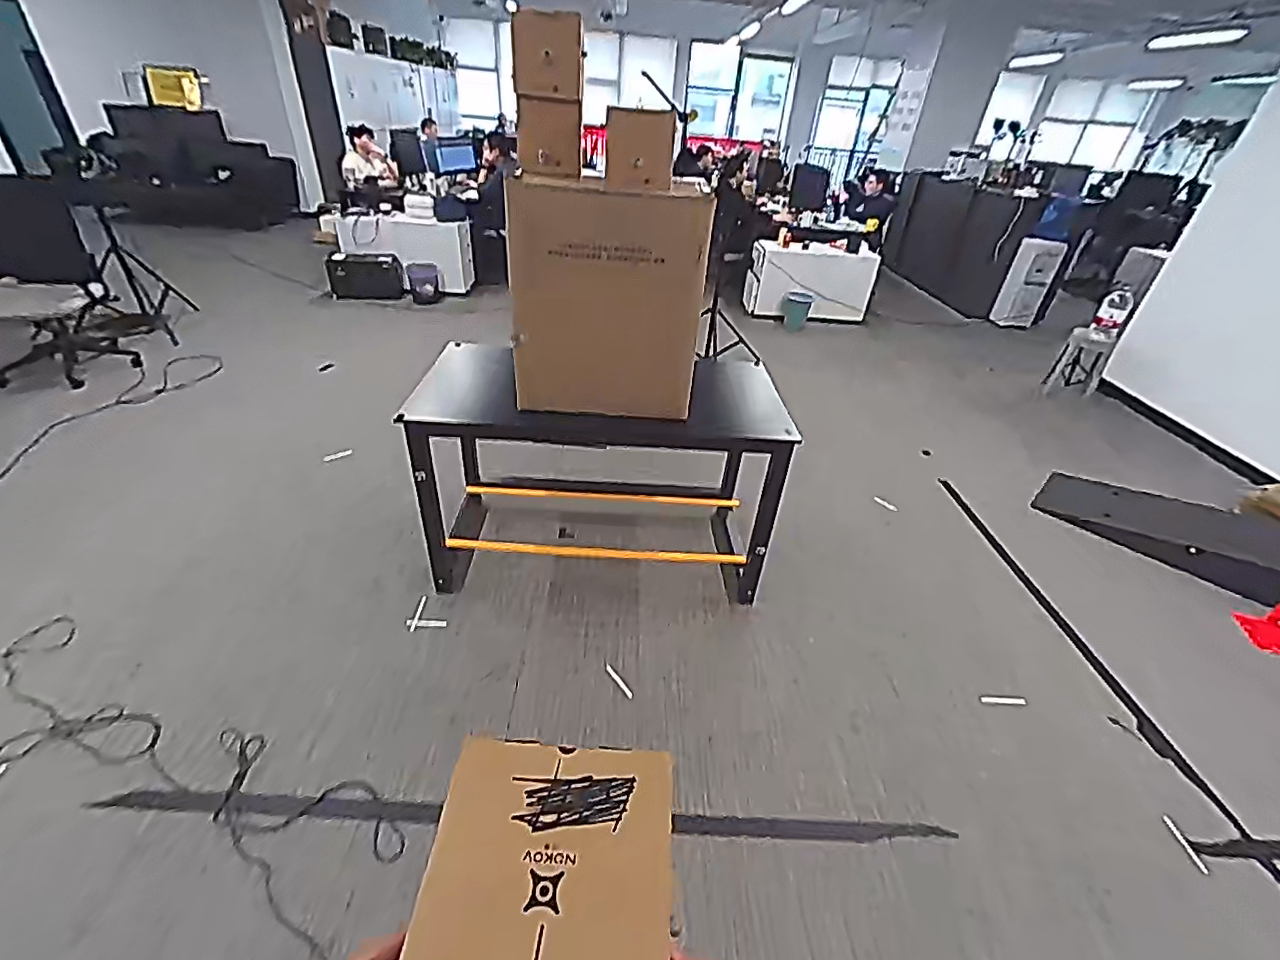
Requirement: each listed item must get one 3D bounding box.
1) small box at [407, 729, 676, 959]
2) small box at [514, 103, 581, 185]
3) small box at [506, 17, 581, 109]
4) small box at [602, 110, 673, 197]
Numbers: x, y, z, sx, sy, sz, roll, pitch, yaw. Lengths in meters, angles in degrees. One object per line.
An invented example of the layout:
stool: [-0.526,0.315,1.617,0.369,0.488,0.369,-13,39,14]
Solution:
small box: [-0.061,0.322,0.419,0.168,0.176,0.179,3,40,0]
small box: [-0.244,-0.908,1.459,0.168,0.176,0.179,0,35,-6]
small box: [-0.235,-1.036,1.355,0.168,0.176,0.179,2,34,-5]
small box: [-0.010,-0.823,1.362,0.168,0.176,0.179,1,35,-3]
